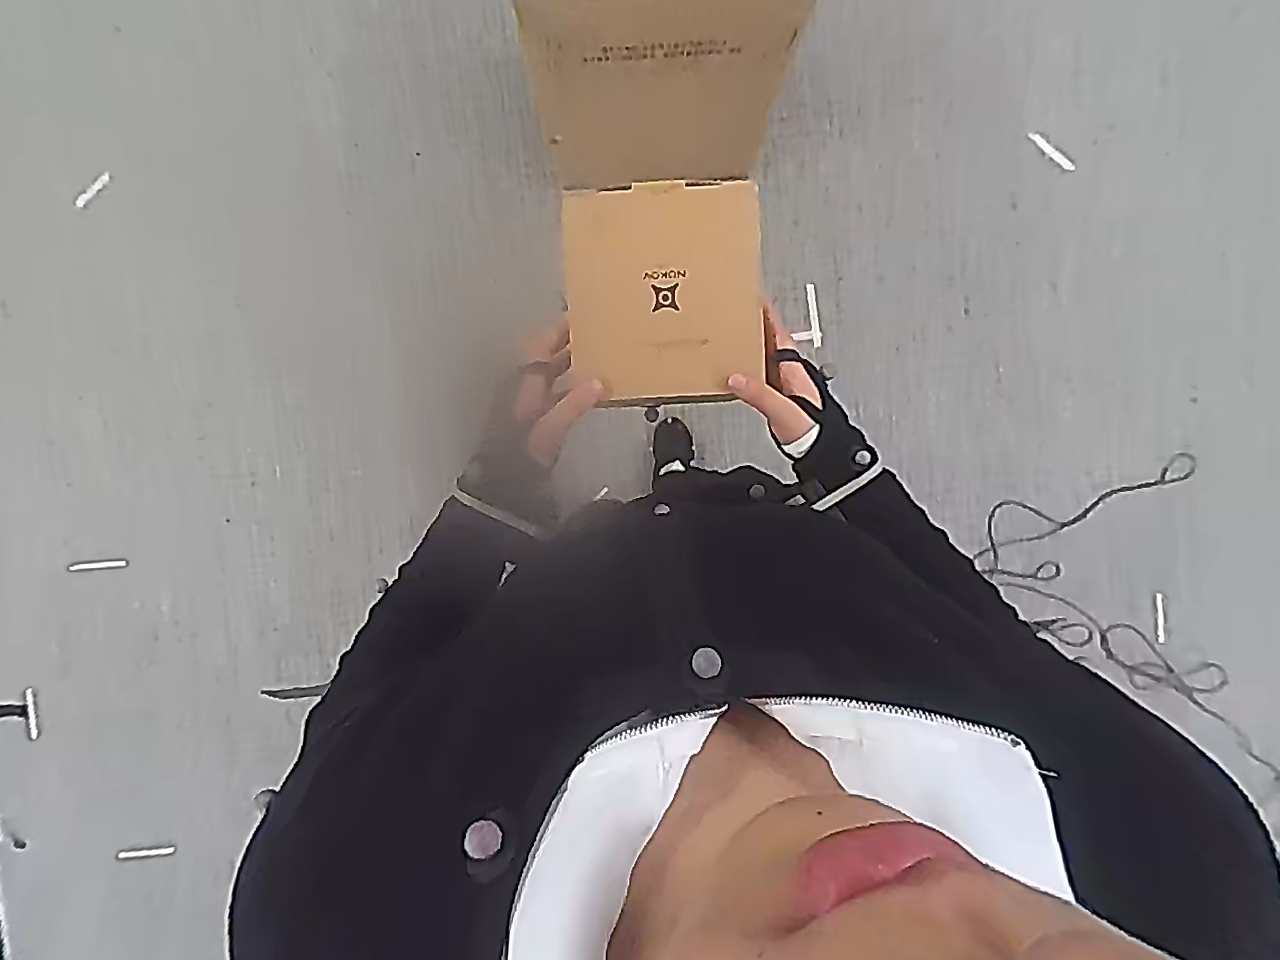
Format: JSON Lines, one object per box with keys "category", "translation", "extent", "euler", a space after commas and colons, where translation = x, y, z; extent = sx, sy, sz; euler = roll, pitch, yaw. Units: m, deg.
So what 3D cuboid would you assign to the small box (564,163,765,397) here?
{"category": "small box", "translation": [0.020, -0.178, 0.530], "extent": [0.168, 0.176, 0.179], "euler": [-3, 96, 0]}
